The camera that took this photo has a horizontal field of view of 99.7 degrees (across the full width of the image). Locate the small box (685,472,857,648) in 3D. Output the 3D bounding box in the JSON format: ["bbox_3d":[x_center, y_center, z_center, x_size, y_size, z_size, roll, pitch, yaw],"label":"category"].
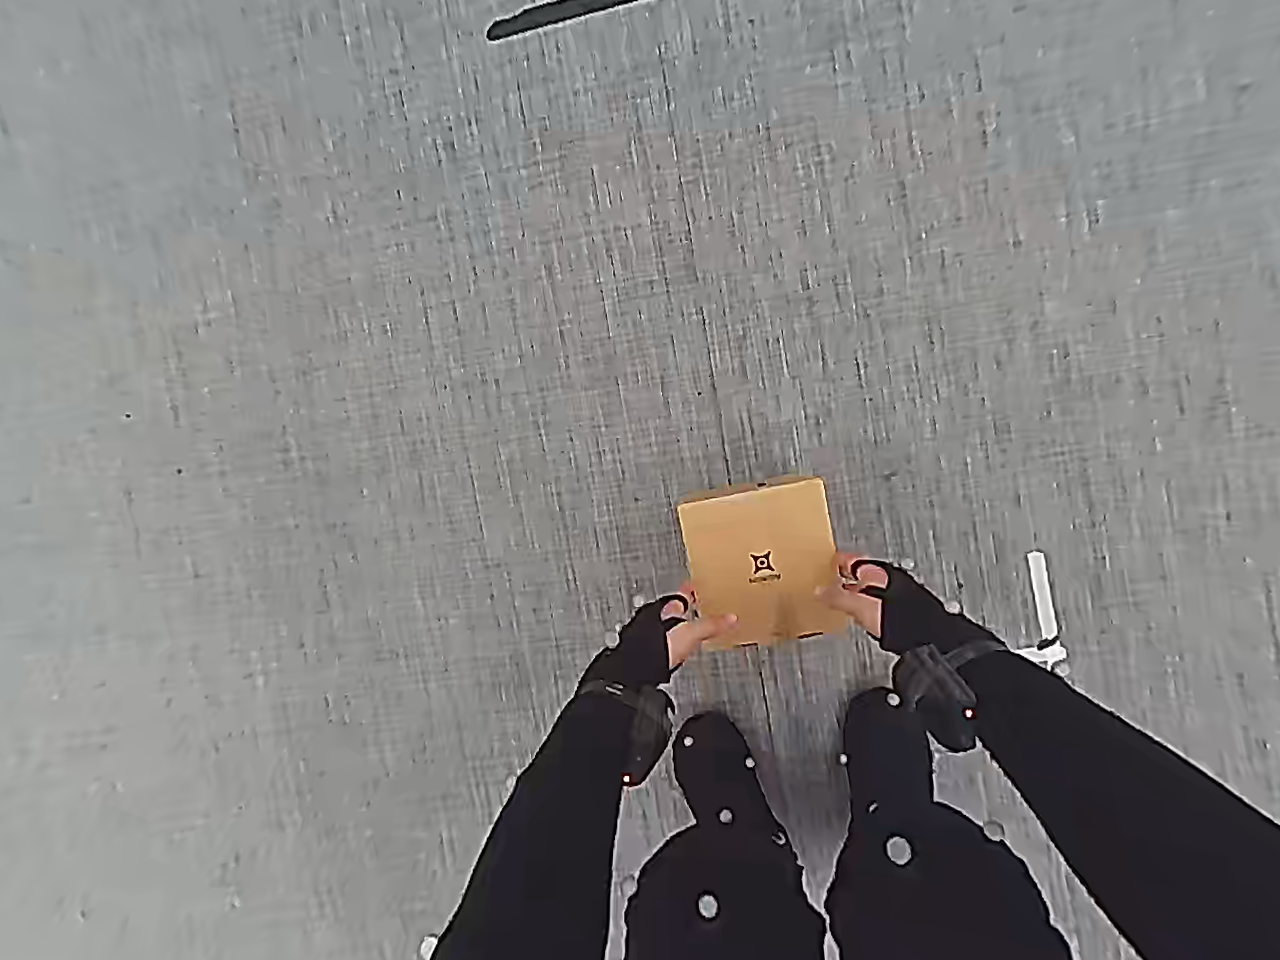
[{"bbox_3d":[0.152,0.089,0.685,0.168,0.176,0.179,-12,92,6],"label":"small box"}]
